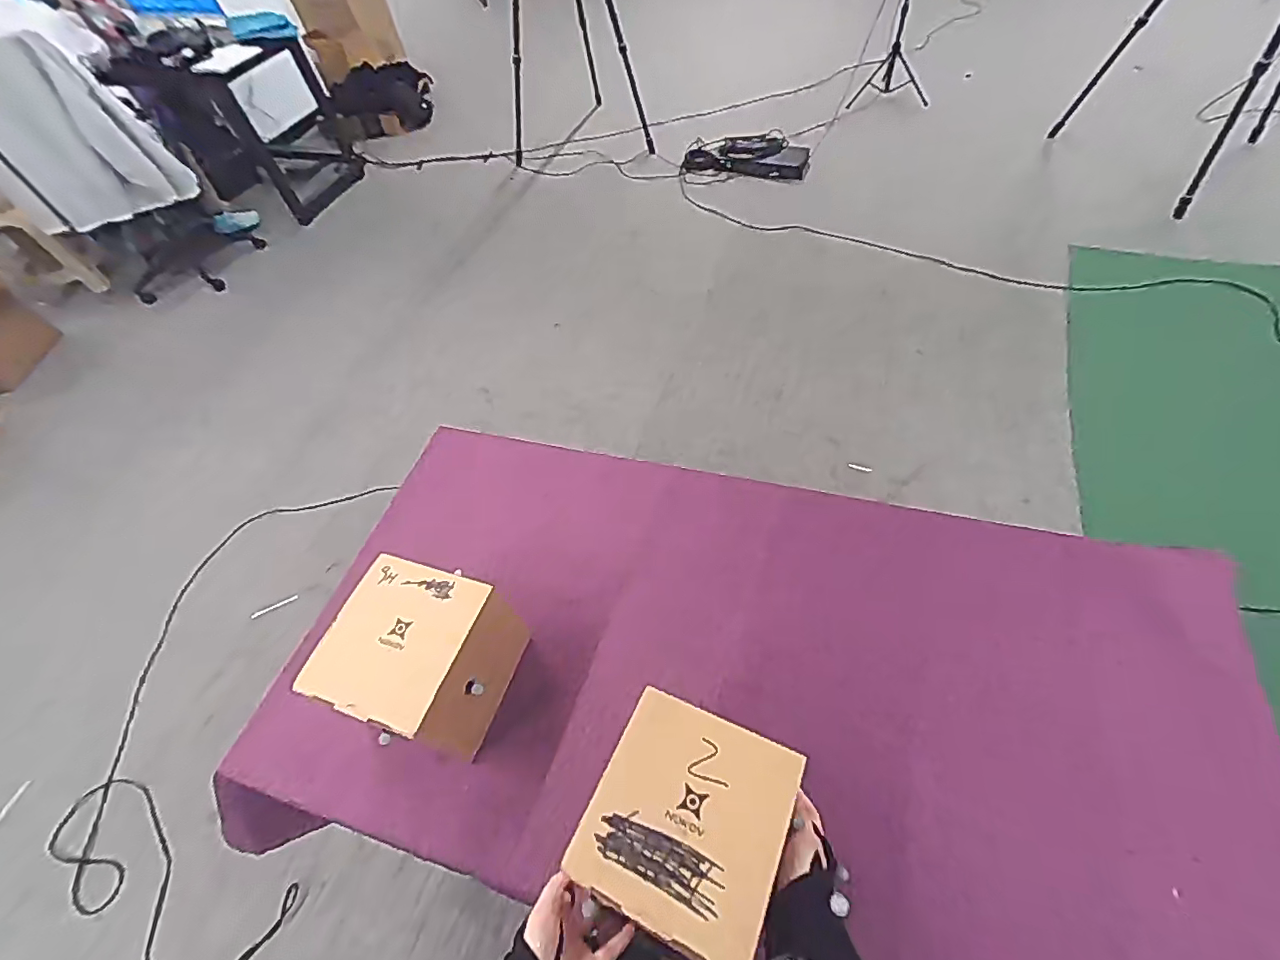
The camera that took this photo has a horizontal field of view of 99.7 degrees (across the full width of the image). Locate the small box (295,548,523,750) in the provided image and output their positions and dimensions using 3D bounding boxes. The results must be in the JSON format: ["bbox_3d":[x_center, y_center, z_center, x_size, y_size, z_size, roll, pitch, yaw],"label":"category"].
[{"bbox_3d":[-0.267,0.216,0.678,0.168,0.176,0.179,14,58,15],"label":"small box"}]
